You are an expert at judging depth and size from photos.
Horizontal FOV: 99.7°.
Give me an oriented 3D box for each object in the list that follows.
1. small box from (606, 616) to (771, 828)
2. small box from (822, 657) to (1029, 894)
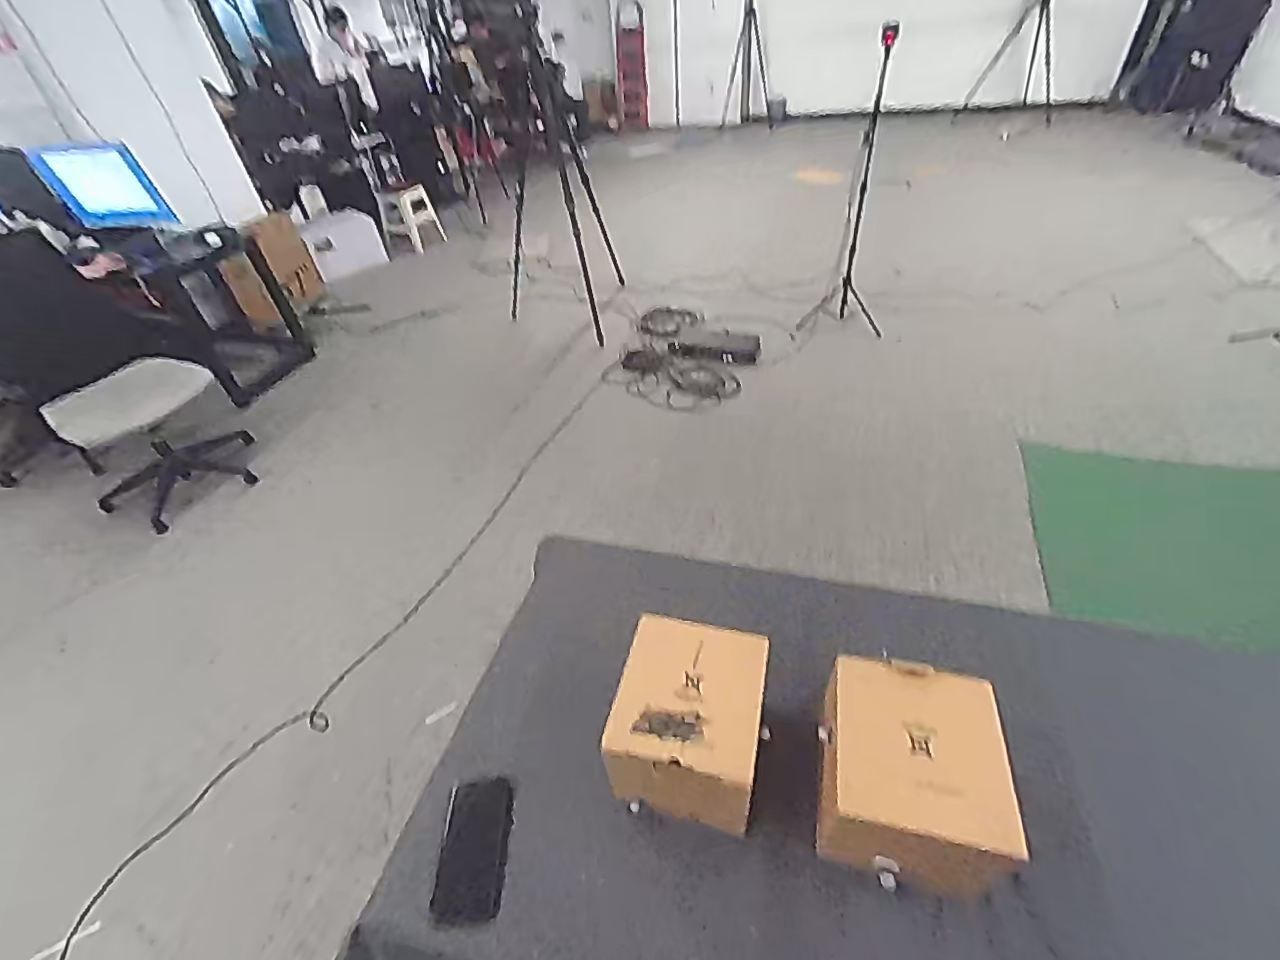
[{"bbox_3d":[0.070,0.305,0.685,0.168,0.176,0.179,7,42,15],"label":"small box"},{"bbox_3d":[0.306,0.338,0.625,0.168,0.176,0.179,6,44,14],"label":"small box"}]
